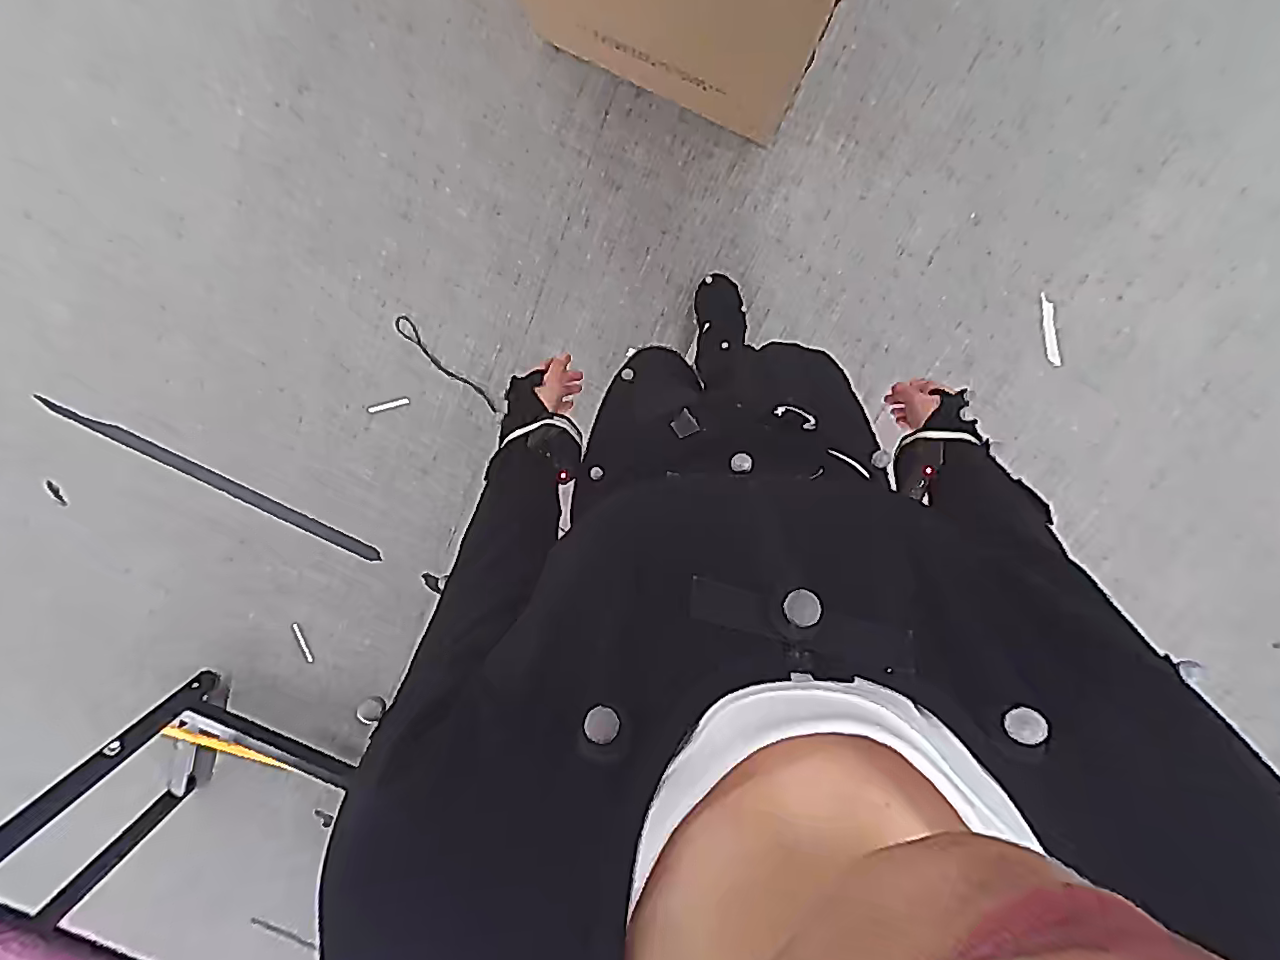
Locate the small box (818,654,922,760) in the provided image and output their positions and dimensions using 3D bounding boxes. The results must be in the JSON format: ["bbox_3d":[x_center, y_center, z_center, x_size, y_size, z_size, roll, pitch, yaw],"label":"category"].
[{"bbox_3d":[0.608,0.602,1.451,0.179,0.176,0.168,25,109,-1],"label":"small box"}]
